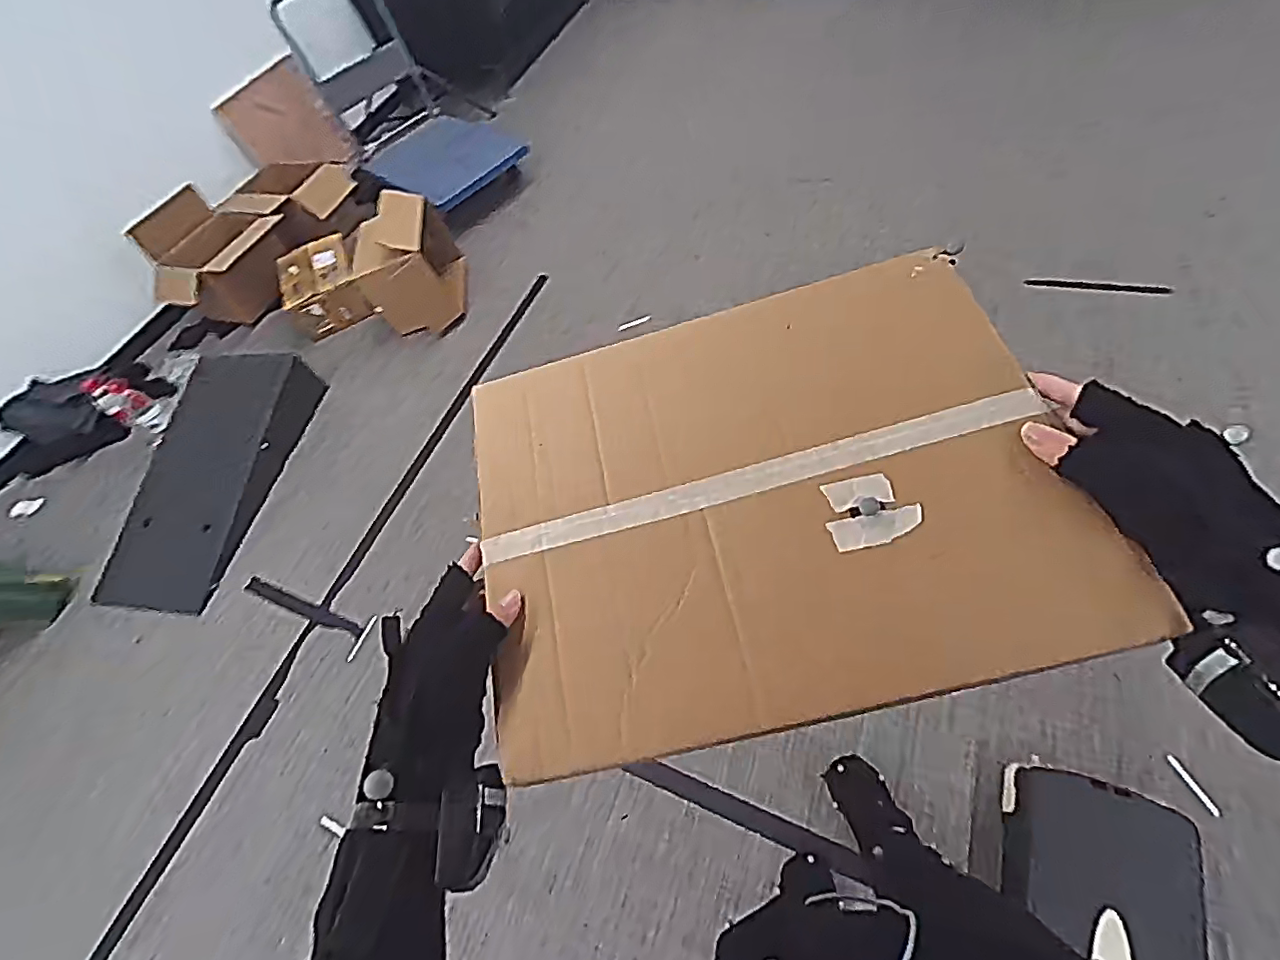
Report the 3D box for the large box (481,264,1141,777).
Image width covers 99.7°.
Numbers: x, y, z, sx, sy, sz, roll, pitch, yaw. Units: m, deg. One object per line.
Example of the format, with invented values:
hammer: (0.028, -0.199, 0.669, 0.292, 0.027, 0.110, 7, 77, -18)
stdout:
large box: (0.106, 0.066, 0.534, 0.408, 0.320, 0.320, -16, 64, 4)
